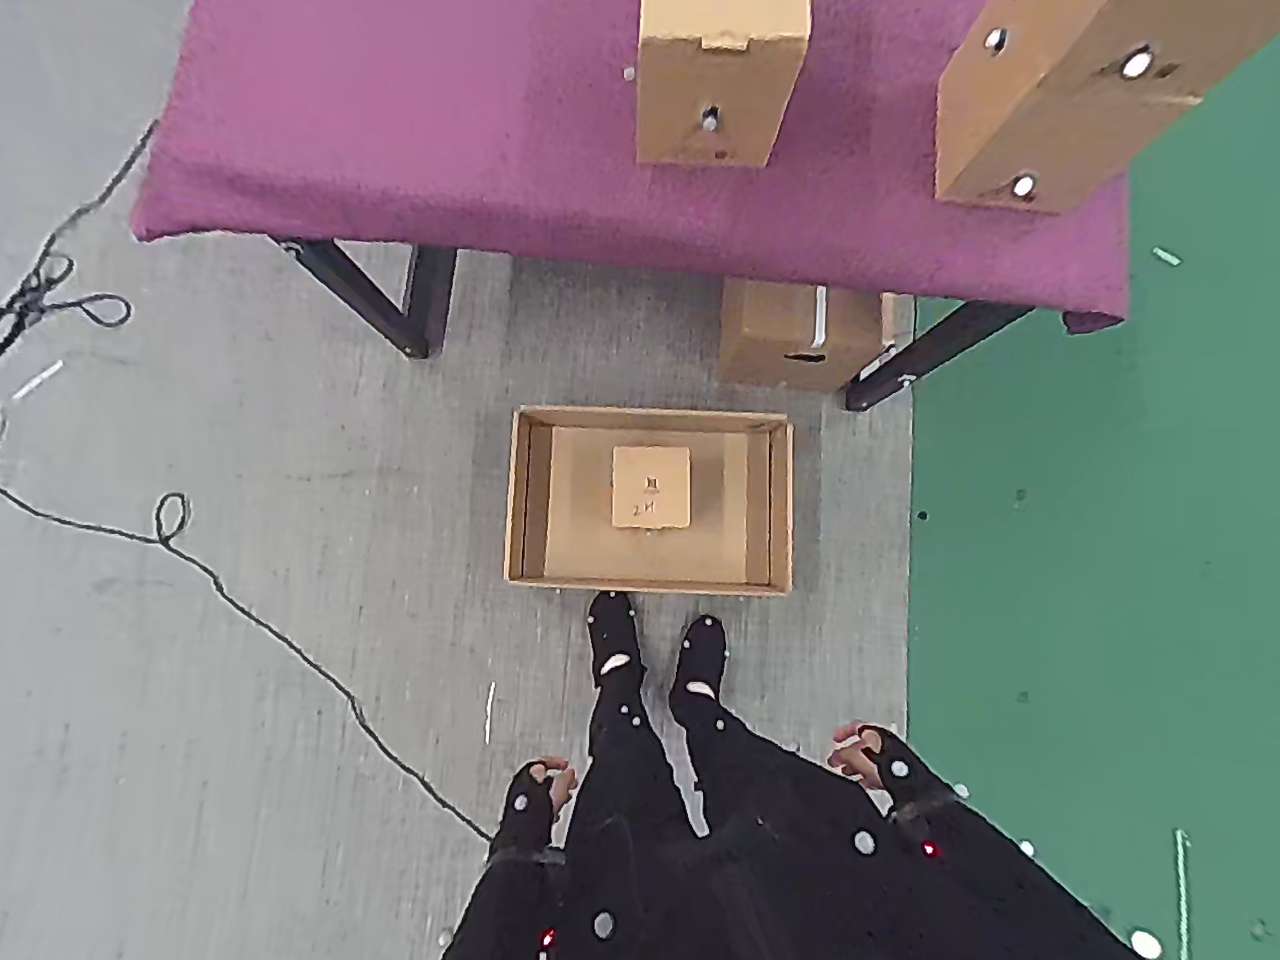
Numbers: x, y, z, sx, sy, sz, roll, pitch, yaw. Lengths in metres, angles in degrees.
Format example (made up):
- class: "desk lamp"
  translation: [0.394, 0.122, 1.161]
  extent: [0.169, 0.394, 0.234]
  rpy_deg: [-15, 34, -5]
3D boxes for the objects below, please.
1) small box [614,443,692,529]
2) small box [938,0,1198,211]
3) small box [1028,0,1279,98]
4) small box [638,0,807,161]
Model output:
- class: "small box"
  translation: [0.026, 0.018, 1.225]
  extent: [0.168, 0.176, 0.179]
  rpy_deg: [1, 84, 0]
- class: "small box"
  translation: [0.461, -0.442, 0.610]
  extent: [0.168, 0.176, 0.179]
  rpy_deg: [6, 82, 1]
- class: "small box"
  translation: [0.458, -0.467, 0.449]
  extent: [0.168, 0.176, 0.179]
  rpy_deg: [3, 81, 1]
- class: "small box"
  translation: [0.083, -0.496, 0.612]
  extent: [0.168, 0.176, 0.179]
  rpy_deg: [2, 82, -1]
